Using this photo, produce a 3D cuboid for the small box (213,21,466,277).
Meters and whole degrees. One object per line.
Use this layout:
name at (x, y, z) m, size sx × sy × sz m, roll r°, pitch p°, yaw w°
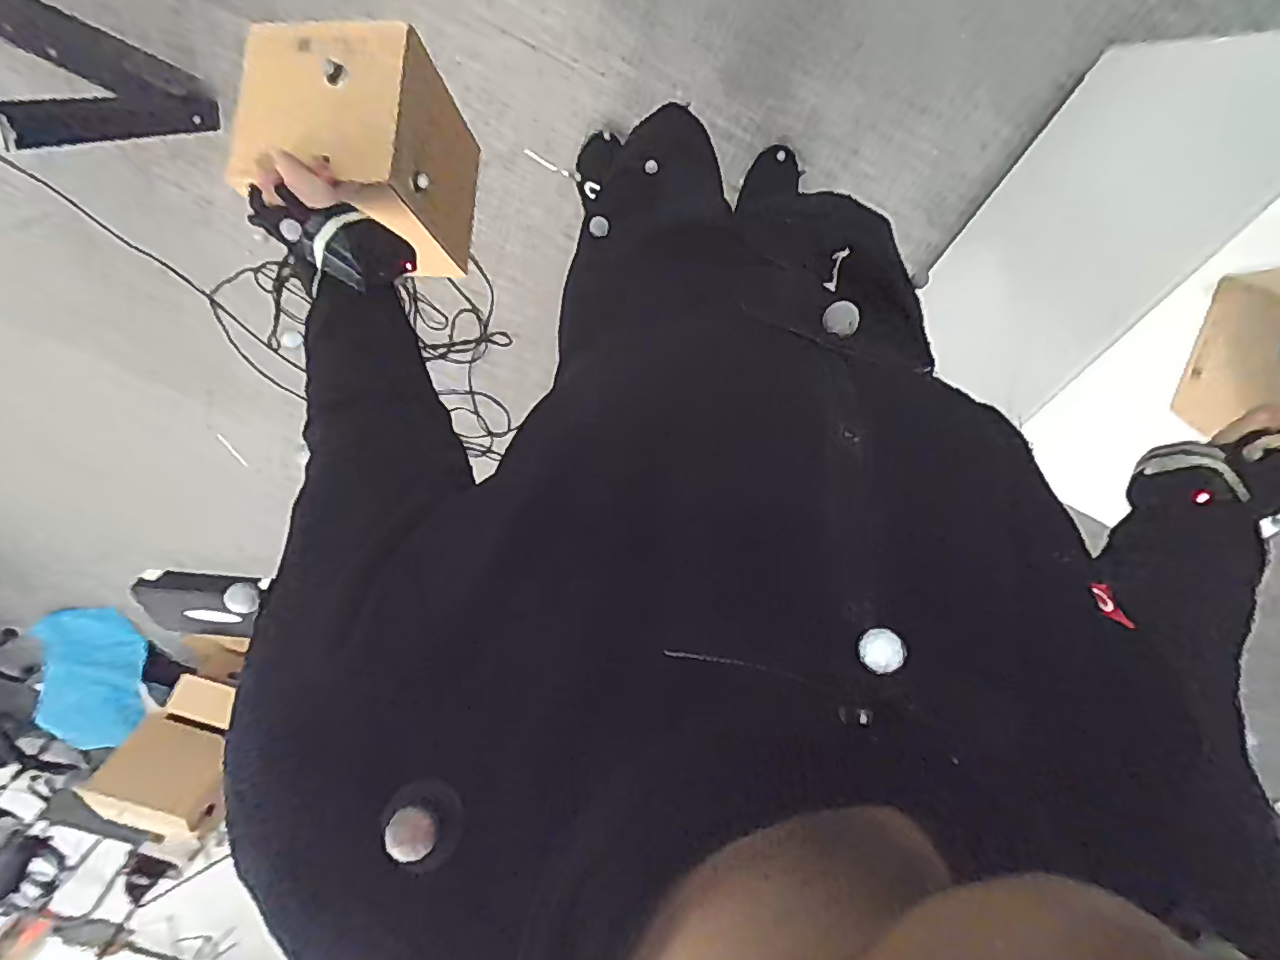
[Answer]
small box at (-0.303, -0.342, 0.585) m, size 0.168 × 0.179 × 0.176 m, roll 3°, pitch 83°, yaw 6°
